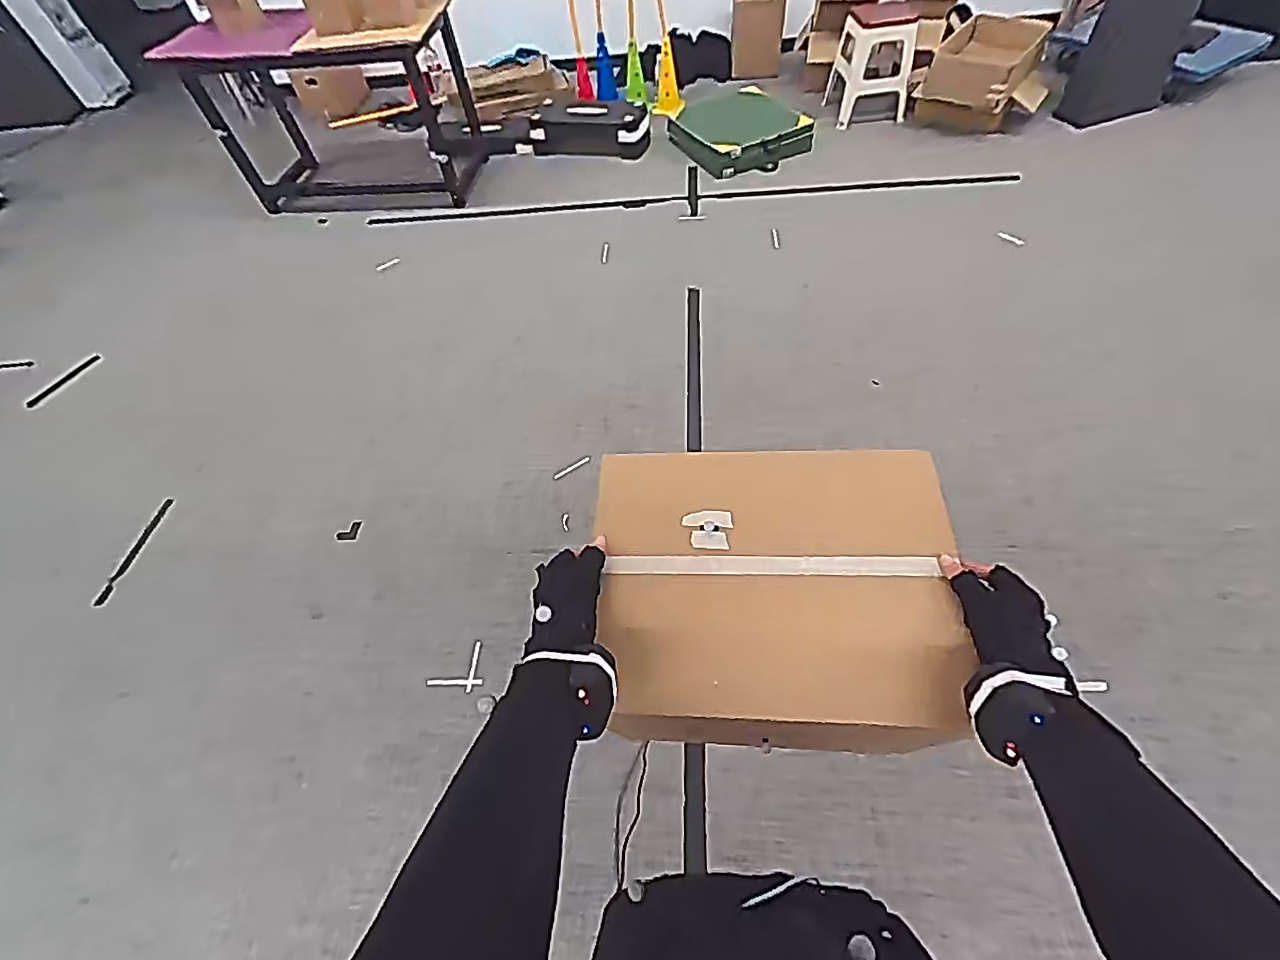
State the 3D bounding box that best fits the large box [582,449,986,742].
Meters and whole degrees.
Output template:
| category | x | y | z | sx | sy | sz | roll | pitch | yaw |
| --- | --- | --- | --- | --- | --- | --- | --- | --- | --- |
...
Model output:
| category | x | y | z | sx | sy | sz | roll | pitch | yaw |
| --- | --- | --- | --- | --- | --- | --- | --- | --- | --- |
| large box | 0.164 | 0.173 | 0.740 | 0.408 | 0.320 | 0.320 | -1 | 59 | 9 |
